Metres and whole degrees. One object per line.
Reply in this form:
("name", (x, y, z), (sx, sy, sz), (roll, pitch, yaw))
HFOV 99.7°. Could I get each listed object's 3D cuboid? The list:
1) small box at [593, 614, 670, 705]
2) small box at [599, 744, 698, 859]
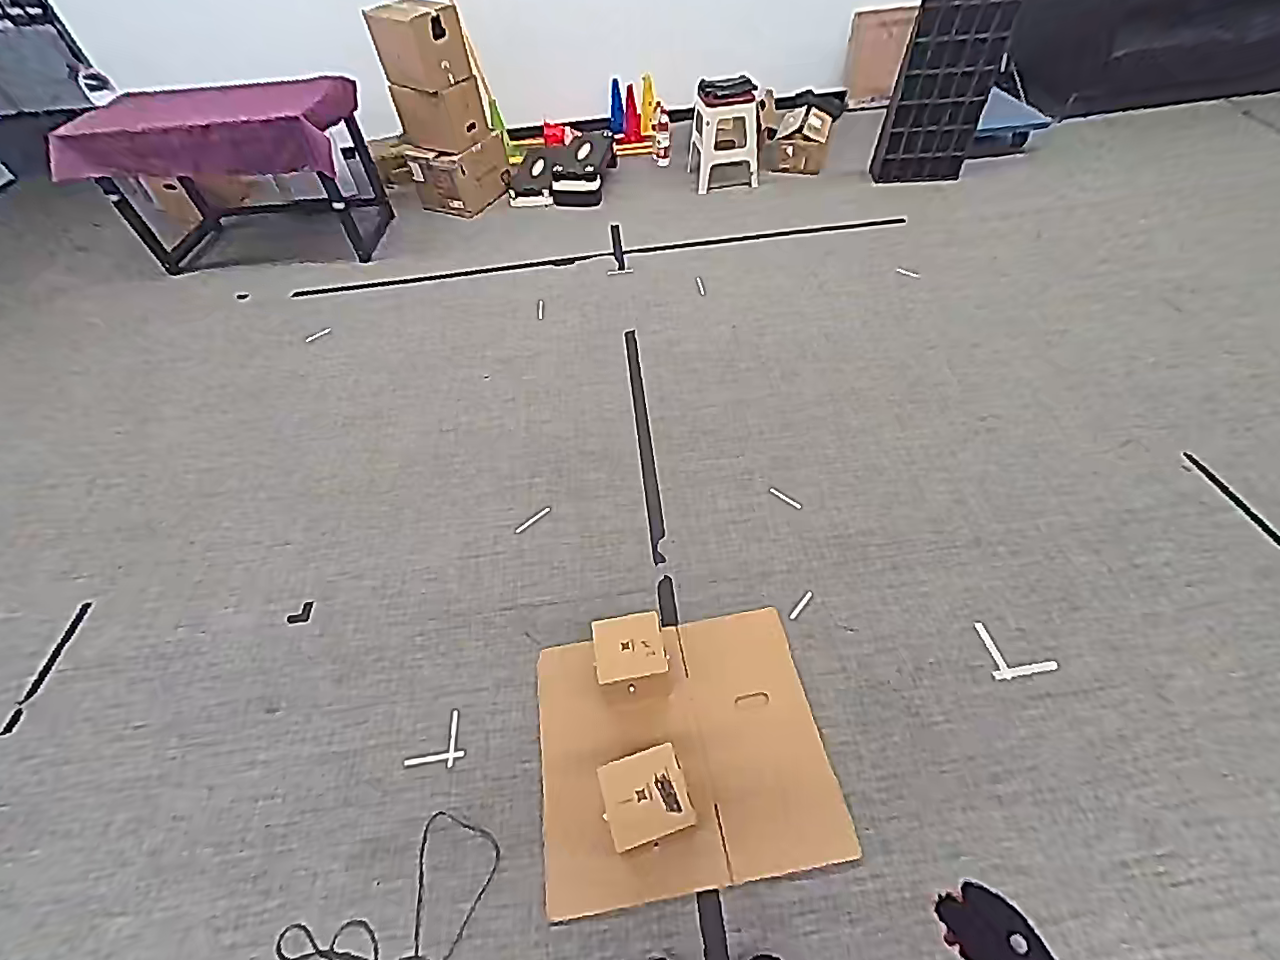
("small box", (-0.021, 0.476, 1.424), (0.179, 0.176, 0.168), (-9, 50, -3))
("small box", (0.019, 0.723, 1.213), (0.179, 0.176, 0.168), (-16, 50, -8))
